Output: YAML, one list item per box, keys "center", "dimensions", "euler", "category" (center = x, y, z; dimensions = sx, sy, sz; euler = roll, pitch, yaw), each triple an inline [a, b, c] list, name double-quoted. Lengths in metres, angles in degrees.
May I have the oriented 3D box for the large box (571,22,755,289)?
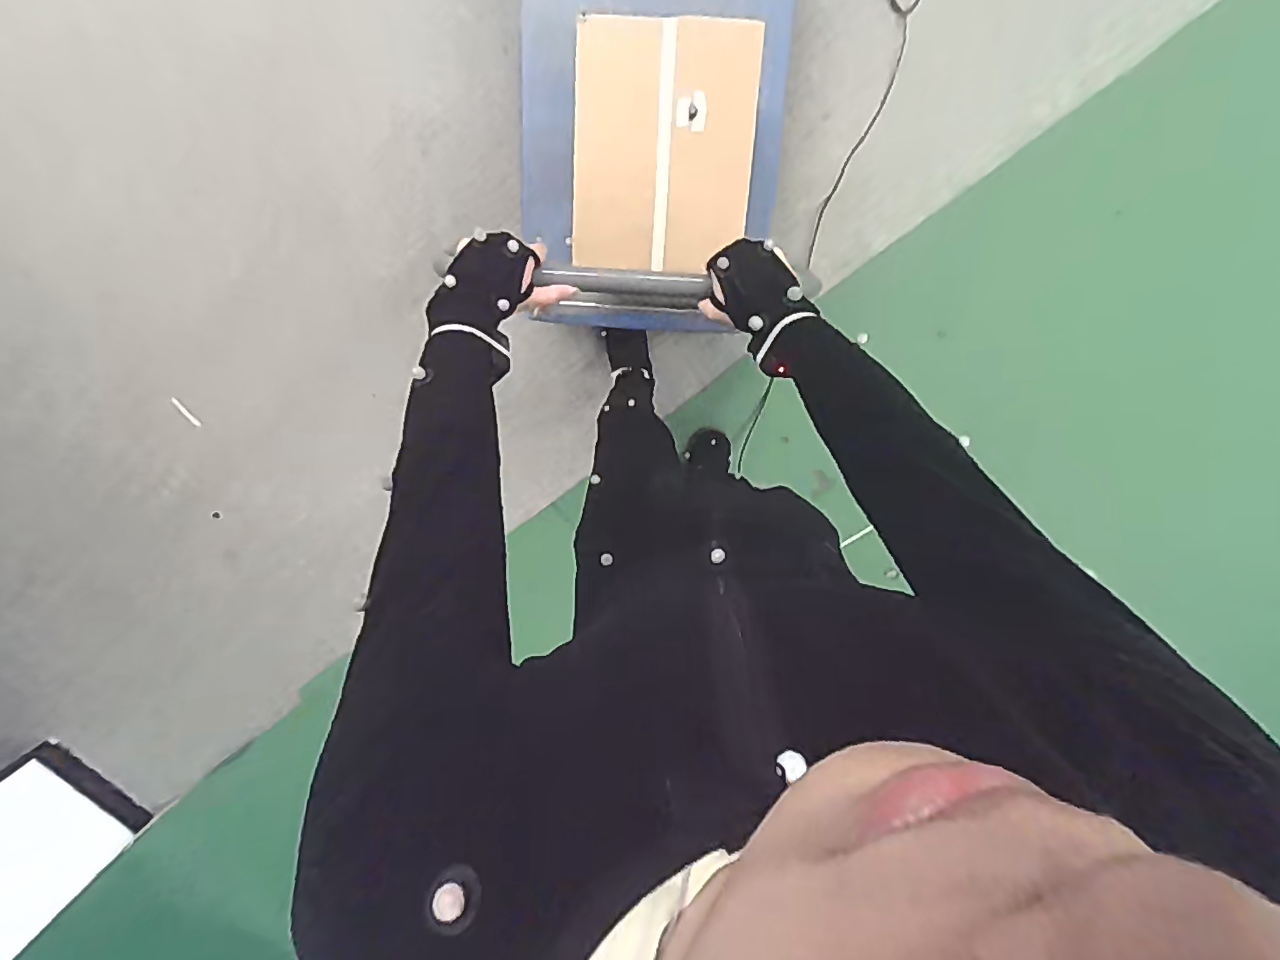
- center: [0.042, -0.616, 1.107]
  dimensions: [0.320, 0.320, 0.408]
  euler: [4, 105, 1]
  category: "large box"
